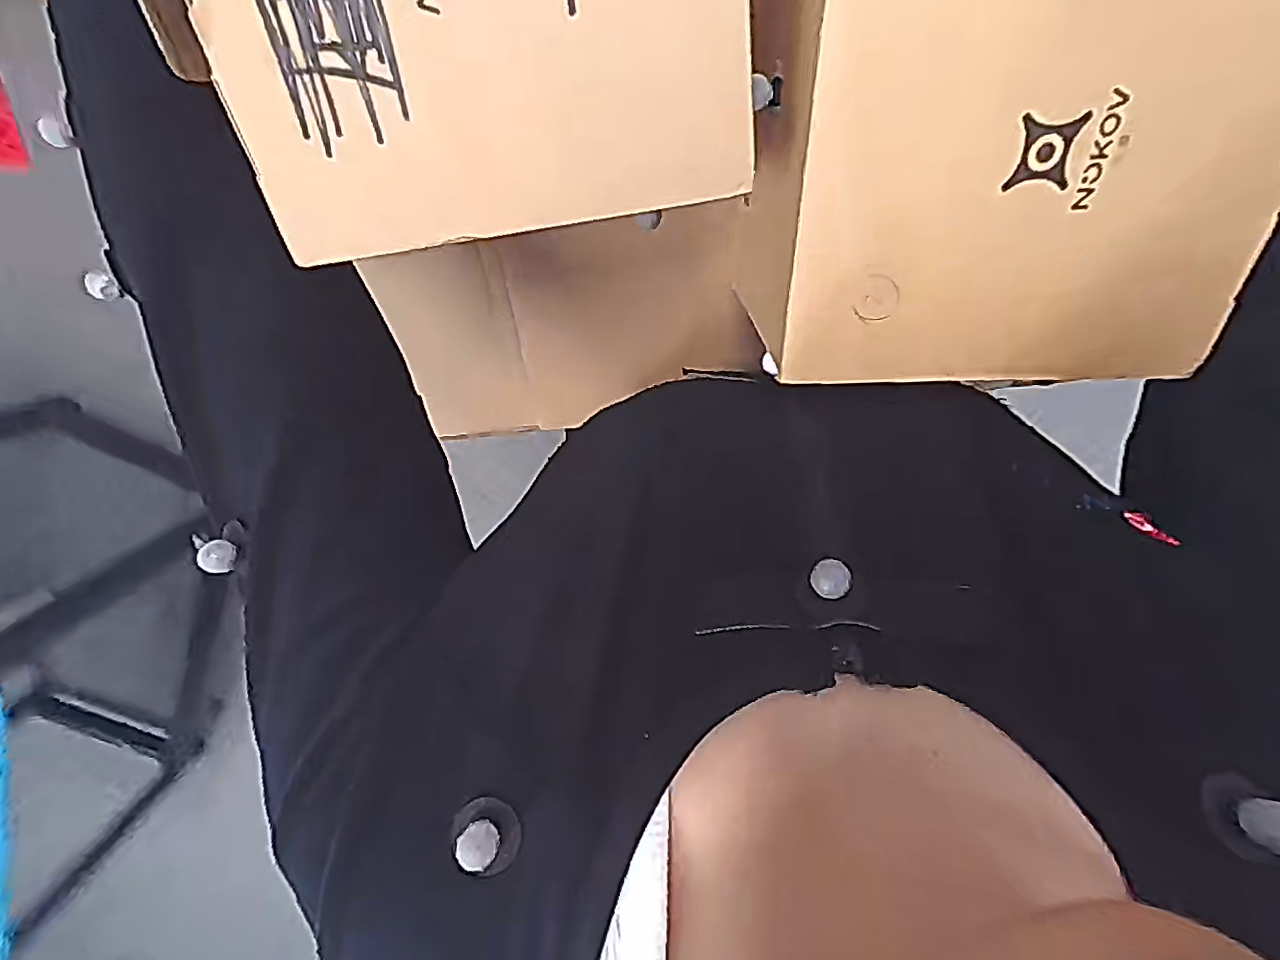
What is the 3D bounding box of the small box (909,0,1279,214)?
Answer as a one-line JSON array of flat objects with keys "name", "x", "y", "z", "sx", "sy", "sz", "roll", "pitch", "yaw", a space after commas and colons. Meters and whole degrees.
[{"name": "small box", "x": 0.247, "y": -0.207, "z": 0.202, "sx": 0.179, "sy": 0.176, "sz": 0.168, "roll": 11, "pitch": 128, "yaw": -7}]
